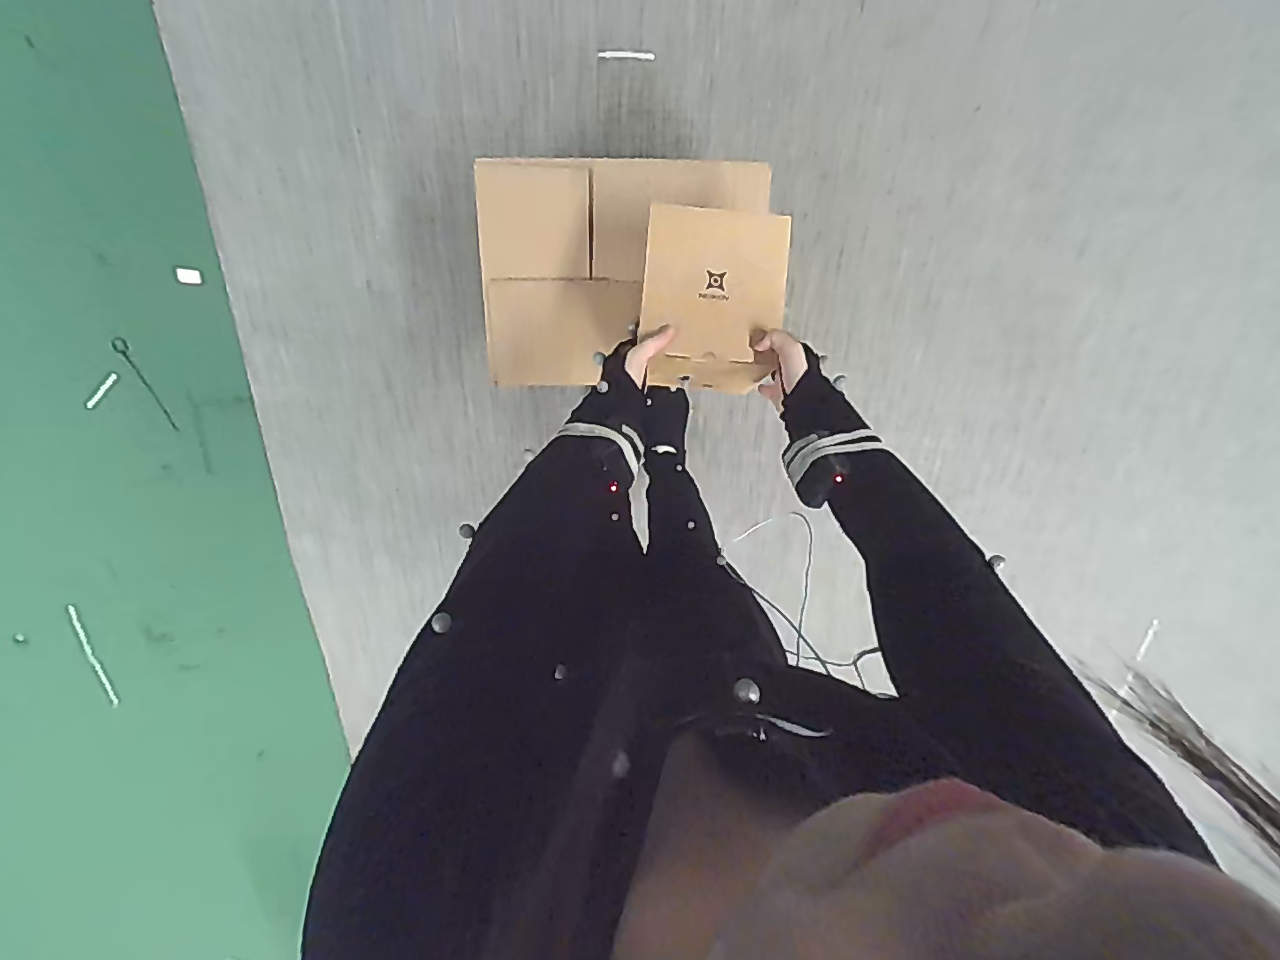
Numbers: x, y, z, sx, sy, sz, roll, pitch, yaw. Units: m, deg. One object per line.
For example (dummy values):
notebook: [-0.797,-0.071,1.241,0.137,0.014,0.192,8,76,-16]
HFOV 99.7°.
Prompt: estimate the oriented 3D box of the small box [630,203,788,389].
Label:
small box: [0.077,-0.223,0.697,0.168,0.176,0.179,5,92,-3]
